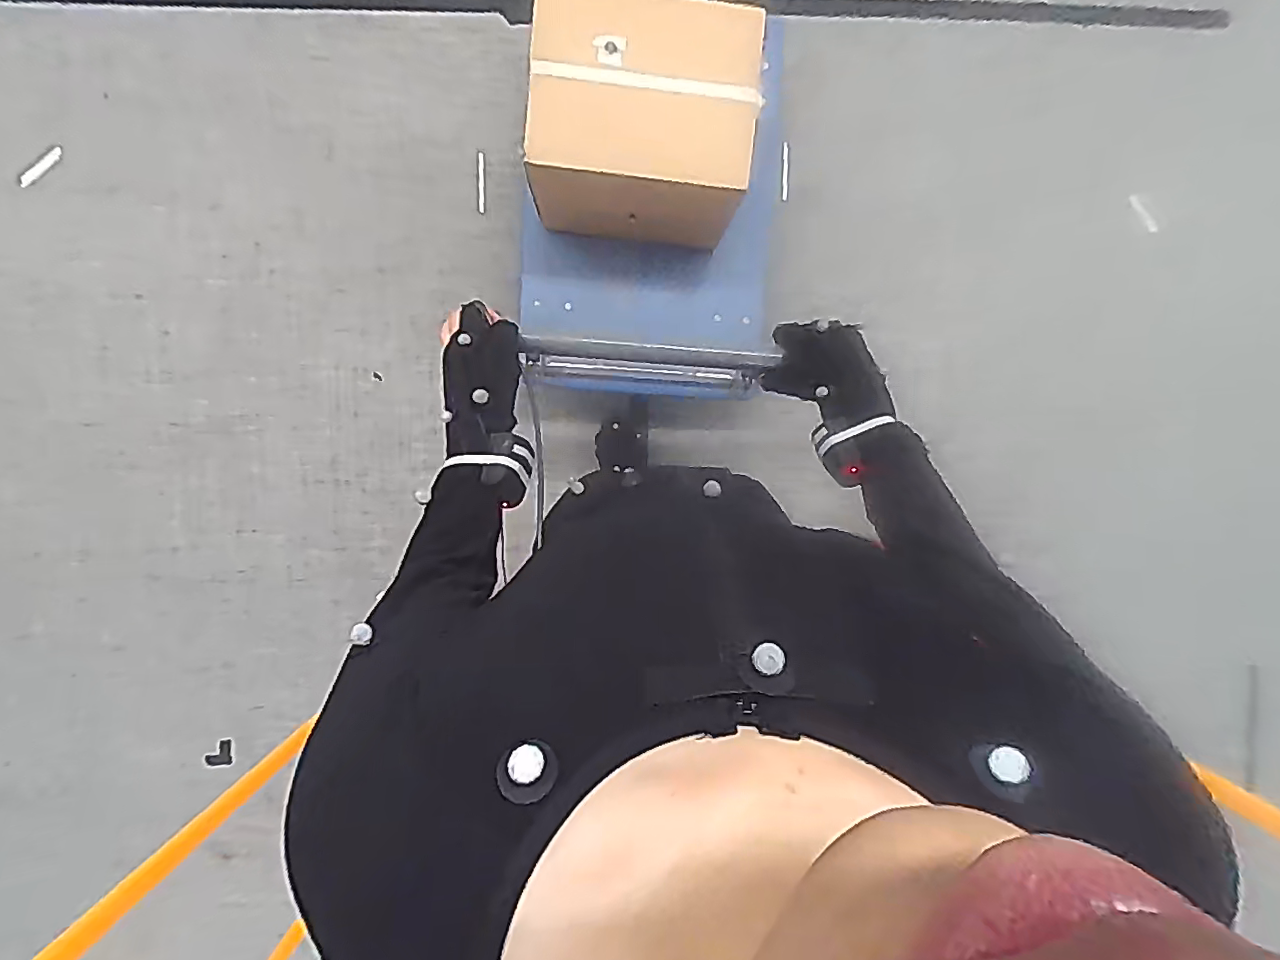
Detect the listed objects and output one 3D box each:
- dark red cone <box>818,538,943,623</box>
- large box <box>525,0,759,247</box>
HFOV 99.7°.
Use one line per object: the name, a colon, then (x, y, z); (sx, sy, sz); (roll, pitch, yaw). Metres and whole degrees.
dark red cone: (0.597, 0.270, 1.316); (0.201, 0.394, 0.202); (0, 94, -4)
large box: (0.000, -0.696, 1.105); (0.408, 0.320, 0.320); (5, 94, -2)
